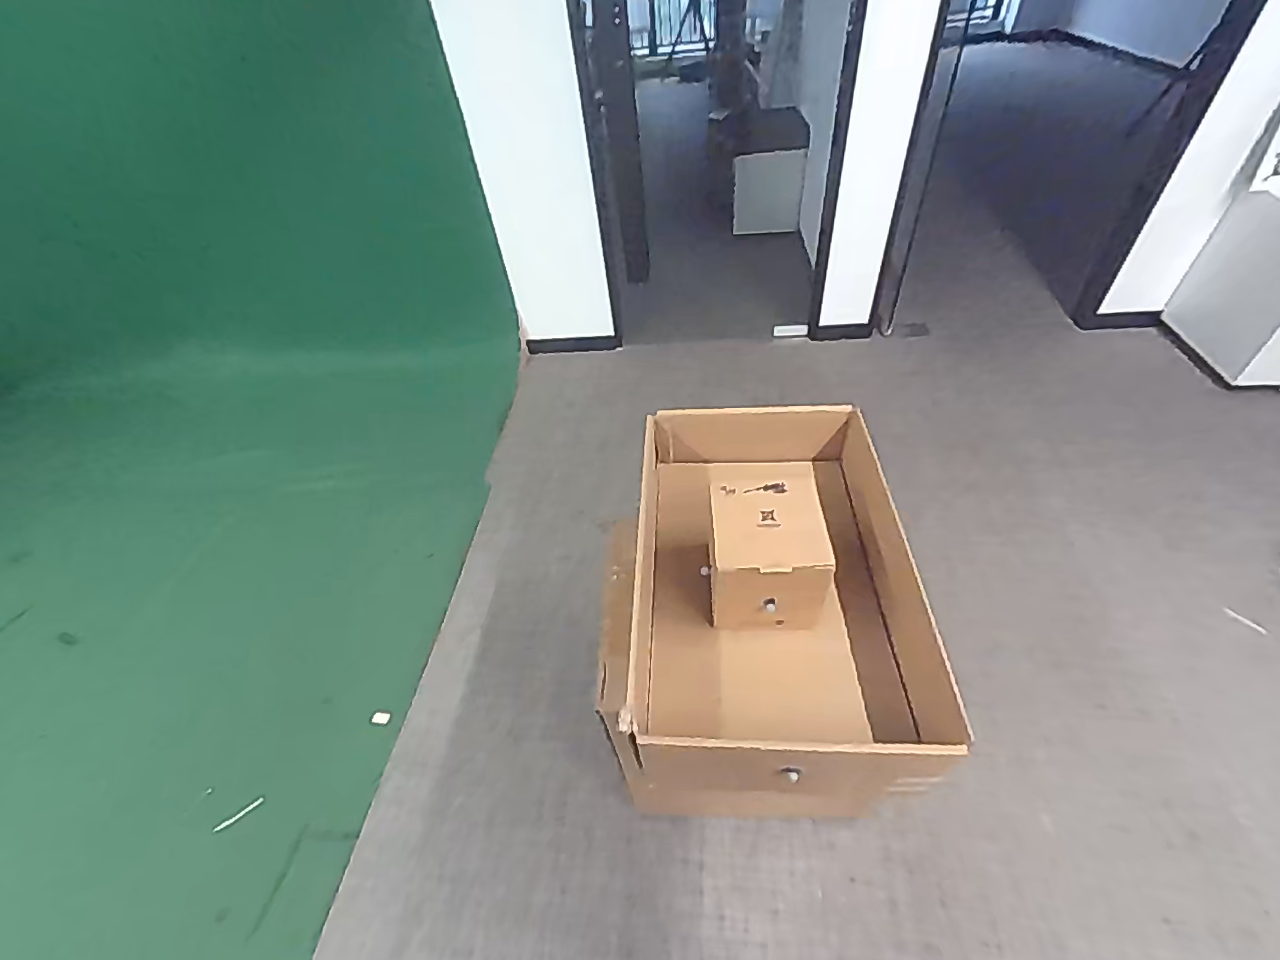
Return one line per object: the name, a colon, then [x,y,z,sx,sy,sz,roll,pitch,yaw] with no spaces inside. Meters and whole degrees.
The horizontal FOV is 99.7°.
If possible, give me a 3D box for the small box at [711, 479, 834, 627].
small box: [0.199,0.120,0.861,0.168,0.176,0.179,-1,46,5]
